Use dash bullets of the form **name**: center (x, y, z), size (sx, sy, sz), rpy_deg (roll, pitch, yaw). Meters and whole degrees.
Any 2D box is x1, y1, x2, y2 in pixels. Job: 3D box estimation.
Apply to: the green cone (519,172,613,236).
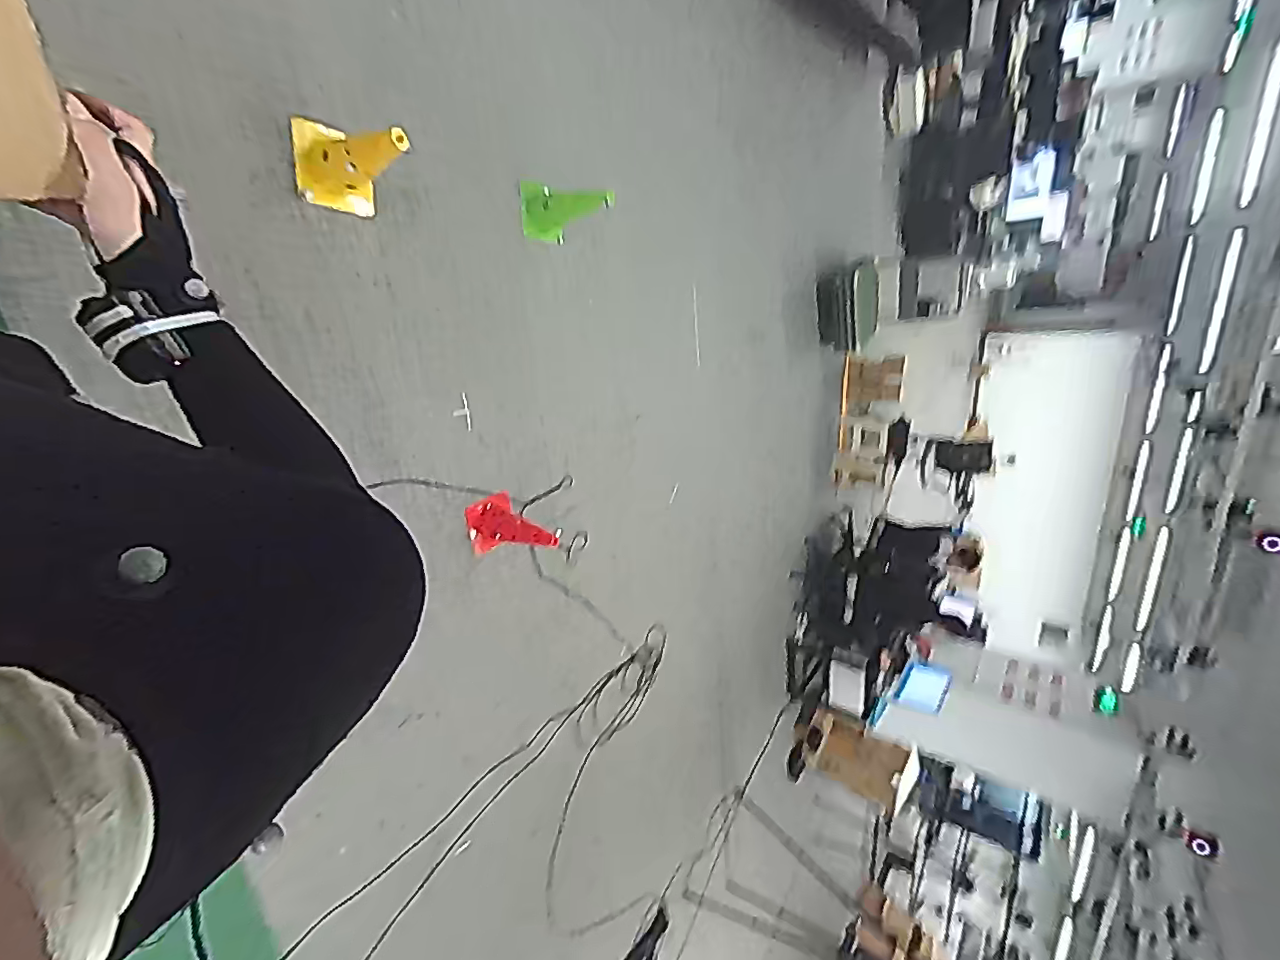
- **green cone**: center (-0.240, -1.016, 1.936), size (0.202, 0.368, 0.200), rpy_deg (-18, 111, -48)
